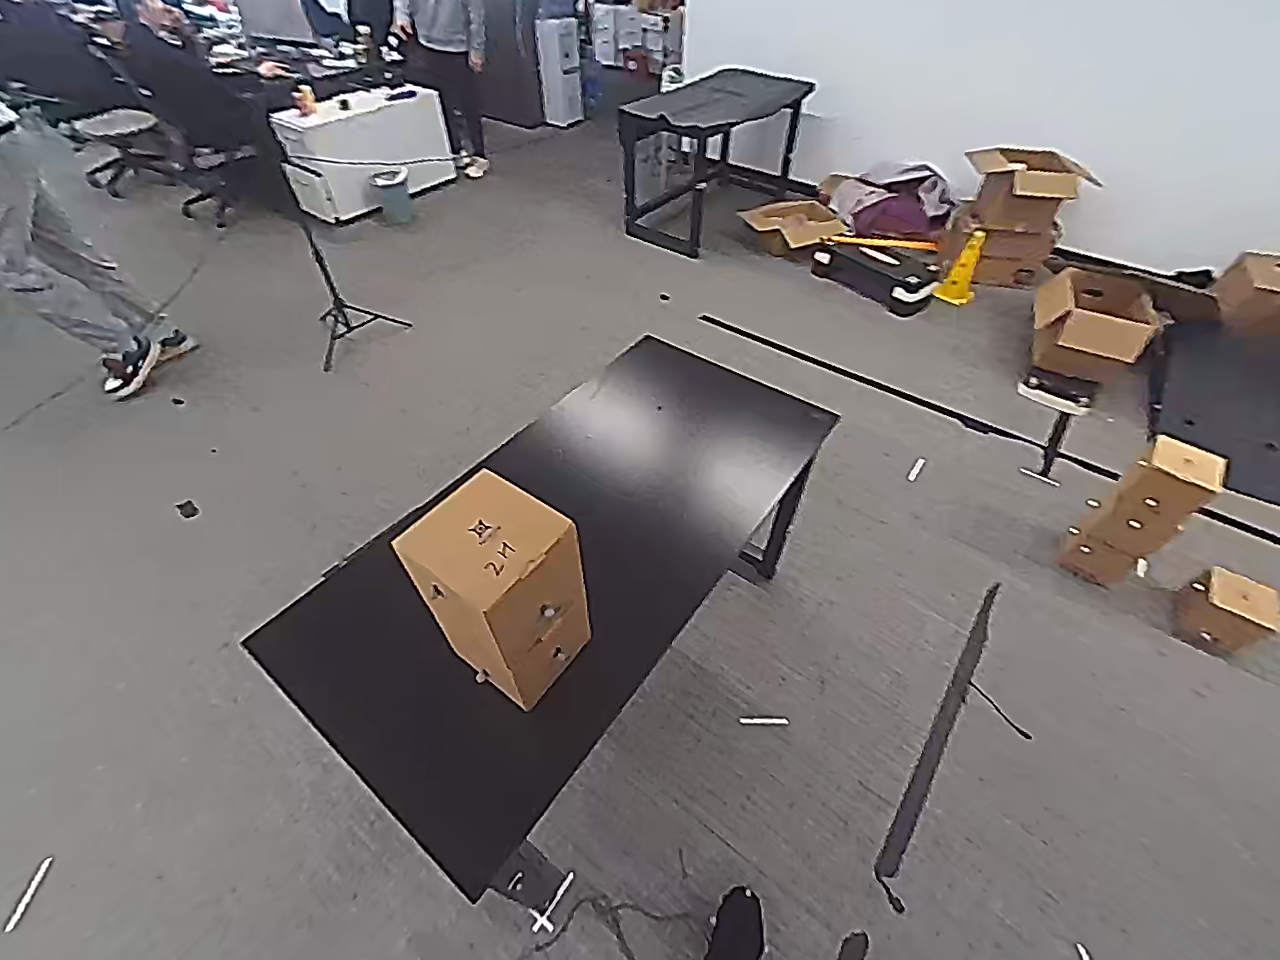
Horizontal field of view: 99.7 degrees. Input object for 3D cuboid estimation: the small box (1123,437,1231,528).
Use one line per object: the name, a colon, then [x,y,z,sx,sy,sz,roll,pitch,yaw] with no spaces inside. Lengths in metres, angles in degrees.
small box: [1.616,0.009,1.634,0.168,0.176,0.179,32,56,24]

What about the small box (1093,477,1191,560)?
small box: [1.619,0.126,1.747,0.179,0.176,0.168,31,55,23]

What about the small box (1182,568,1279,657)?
small box: [1.872,0.421,1.708,0.168,0.176,0.179,28,54,24]

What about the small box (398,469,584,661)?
small box: [-0.197,0.122,0.762,0.179,0.176,0.168,29,54,23]

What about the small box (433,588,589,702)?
small box: [-0.197,0.234,0.883,0.179,0.176,0.168,28,53,22]
